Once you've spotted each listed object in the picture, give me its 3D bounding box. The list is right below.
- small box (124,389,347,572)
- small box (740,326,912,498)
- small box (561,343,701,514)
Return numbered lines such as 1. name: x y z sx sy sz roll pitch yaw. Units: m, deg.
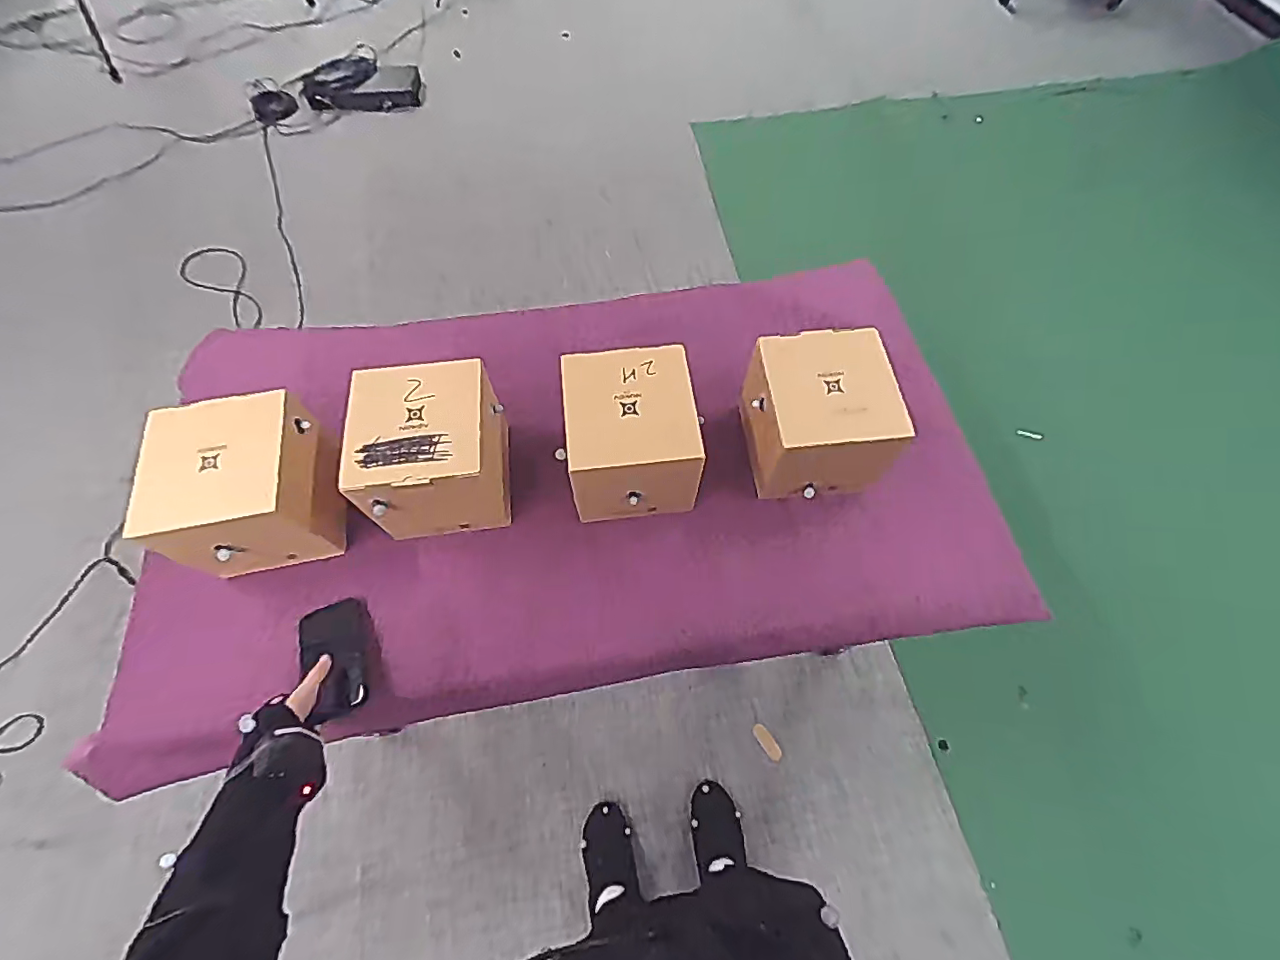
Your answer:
1. small box: -0.509 0.010 0.712 0.168 0.176 0.179 -12 63 -5
2. small box: 0.244 -0.091 0.763 0.168 0.176 0.179 -5 64 -2
3. small box: -0.014 -0.062 0.747 0.168 0.176 0.179 -6 64 -3
